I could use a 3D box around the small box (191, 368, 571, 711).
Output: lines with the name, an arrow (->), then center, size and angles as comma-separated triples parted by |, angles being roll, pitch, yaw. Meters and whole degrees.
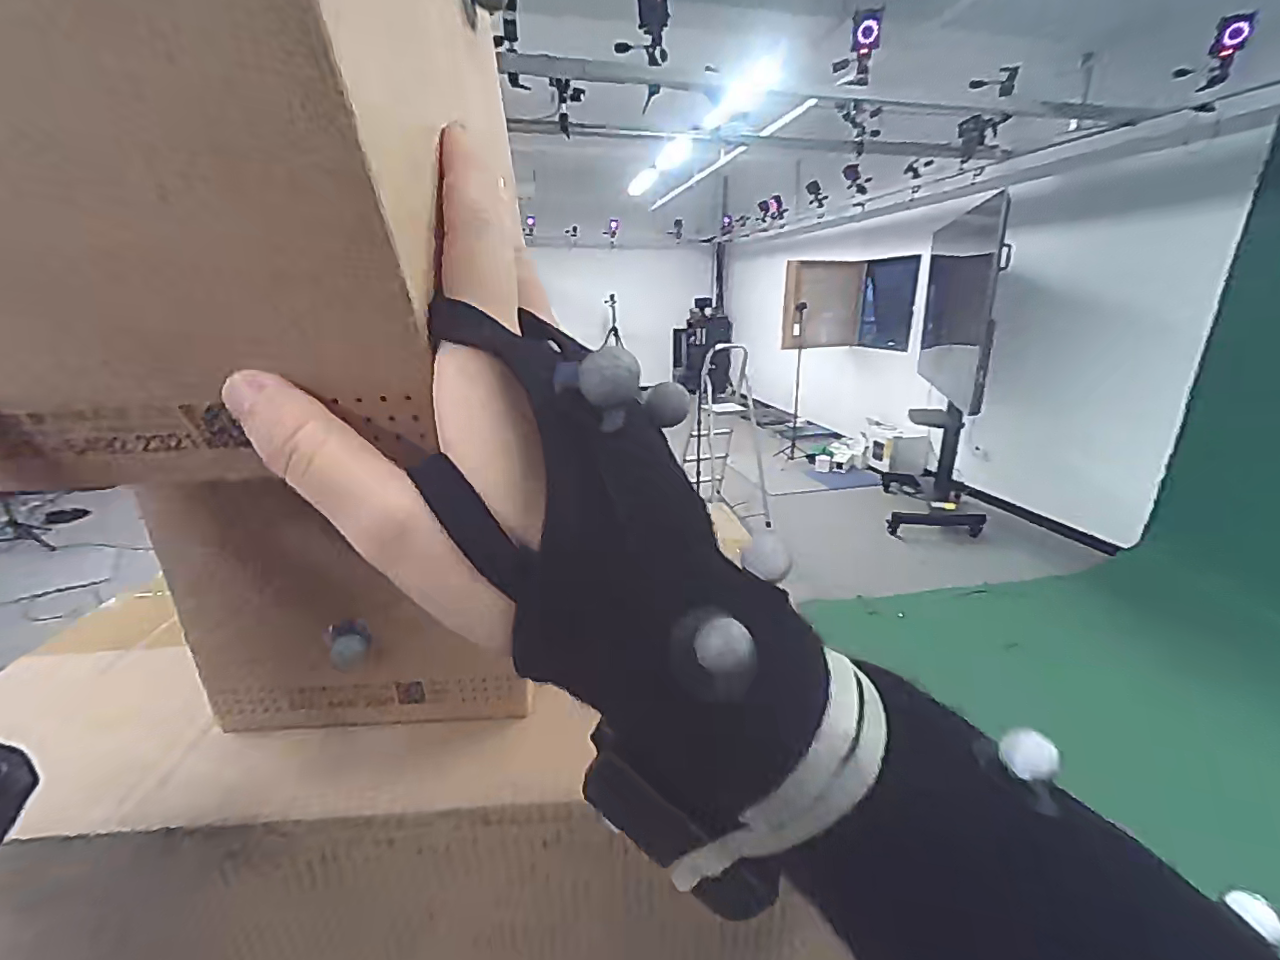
small box -> -0.133, 0.024, 0.356 | 0.168, 0.176, 0.179 | -1, 20, -4
